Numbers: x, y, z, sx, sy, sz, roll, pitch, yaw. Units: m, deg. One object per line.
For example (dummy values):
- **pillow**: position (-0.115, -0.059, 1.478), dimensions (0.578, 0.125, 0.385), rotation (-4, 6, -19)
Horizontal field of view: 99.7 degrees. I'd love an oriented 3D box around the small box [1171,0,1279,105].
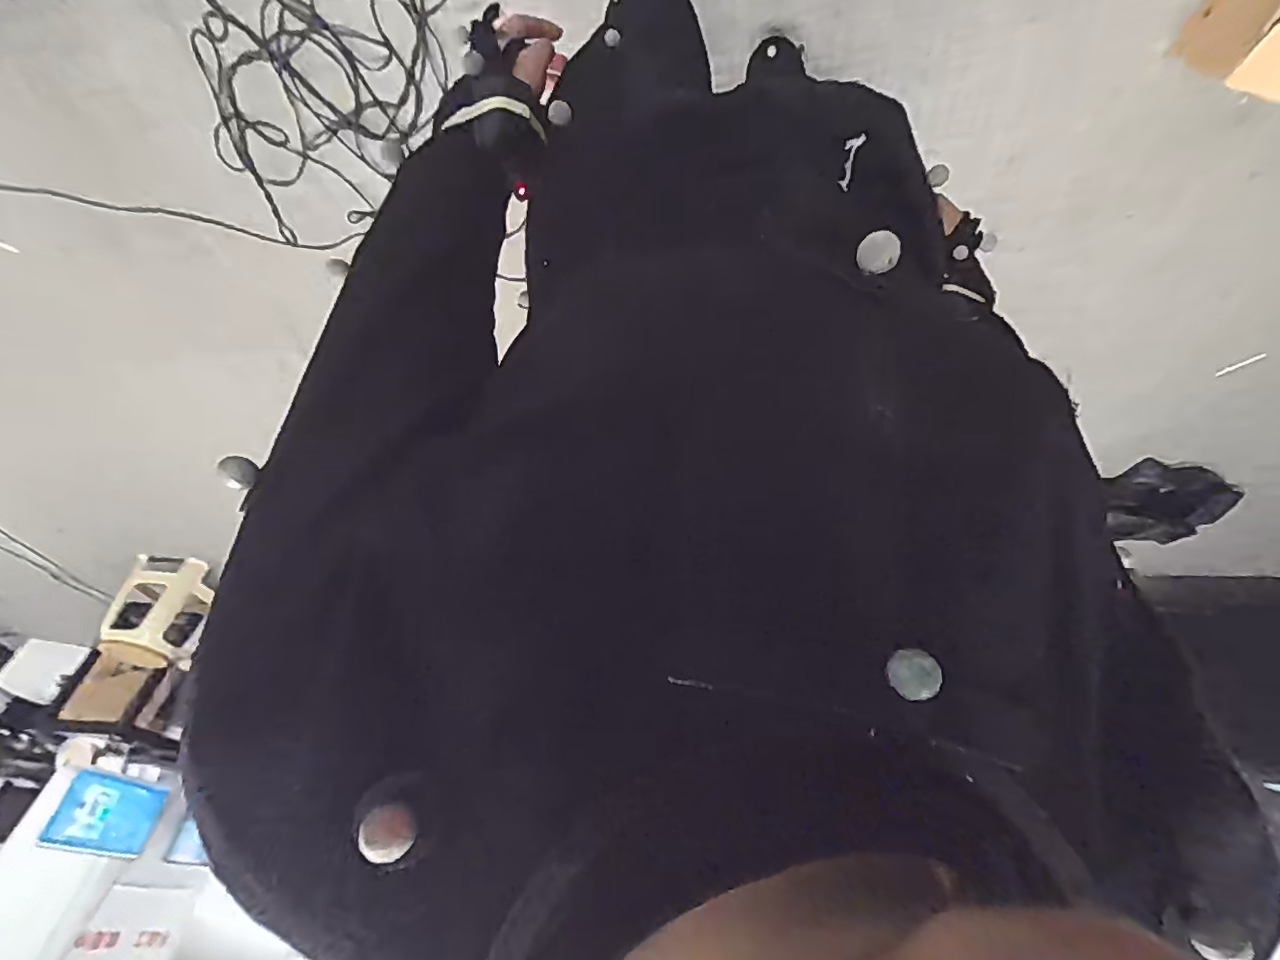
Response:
- **small box**: position (0.968, -0.679, 0.797), dimensions (0.179, 0.176, 0.168), rotation (11, 141, -5)
